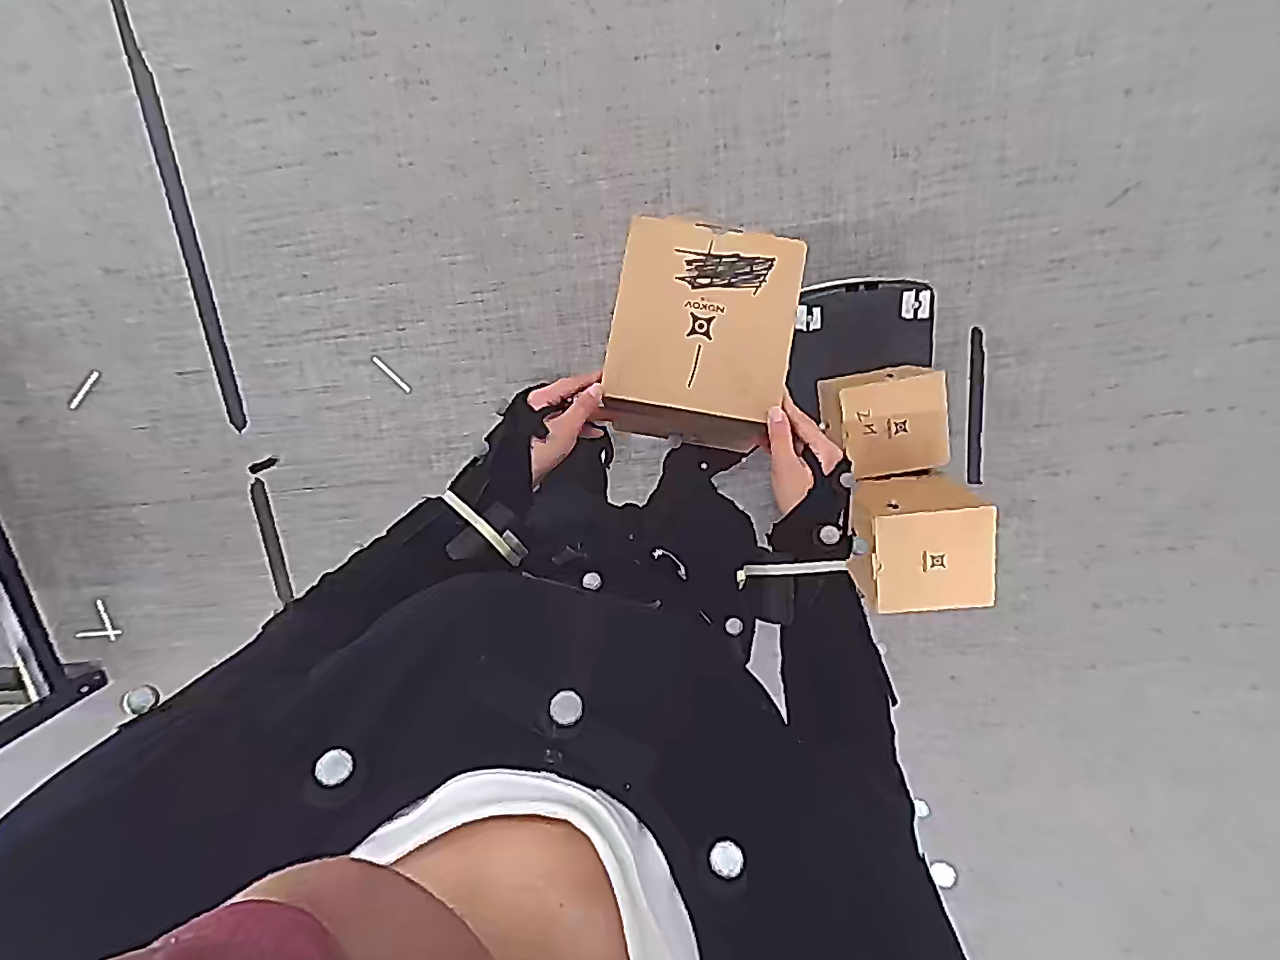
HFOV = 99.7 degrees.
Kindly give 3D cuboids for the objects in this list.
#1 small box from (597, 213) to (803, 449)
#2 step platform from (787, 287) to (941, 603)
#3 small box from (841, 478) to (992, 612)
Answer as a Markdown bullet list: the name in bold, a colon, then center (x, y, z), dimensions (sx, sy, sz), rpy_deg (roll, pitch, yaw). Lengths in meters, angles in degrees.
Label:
- **small box**: center (0.057, -0.142, 0.571), dimensions (0.168, 0.176, 0.179), rpy_deg (10, 85, 3)
- **step platform**: center (0.481, -0.067, 1.201), dimensions (0.286, 0.204, 0.684), rpy_deg (-5, 103, 6)
- **small box**: center (0.448, 0.100, 0.899), dimensions (0.179, 0.176, 0.168), rpy_deg (-6, 104, 7)
